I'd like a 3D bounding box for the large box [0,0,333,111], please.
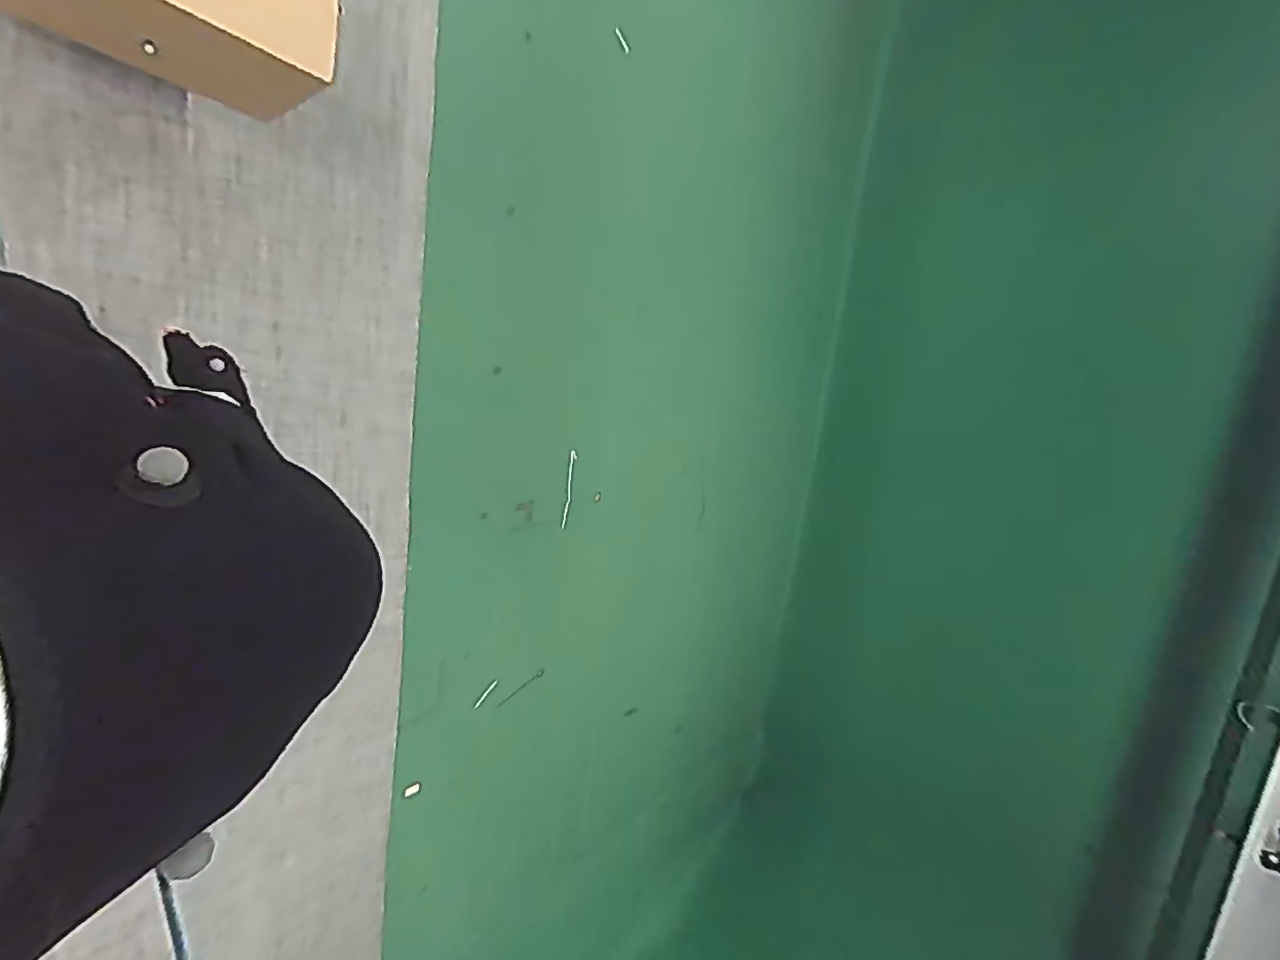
[{"bbox_3d":[-0.727,-0.832,0.804,0.408,0.320,0.320,-2,103,-51],"label":"large box"}]
